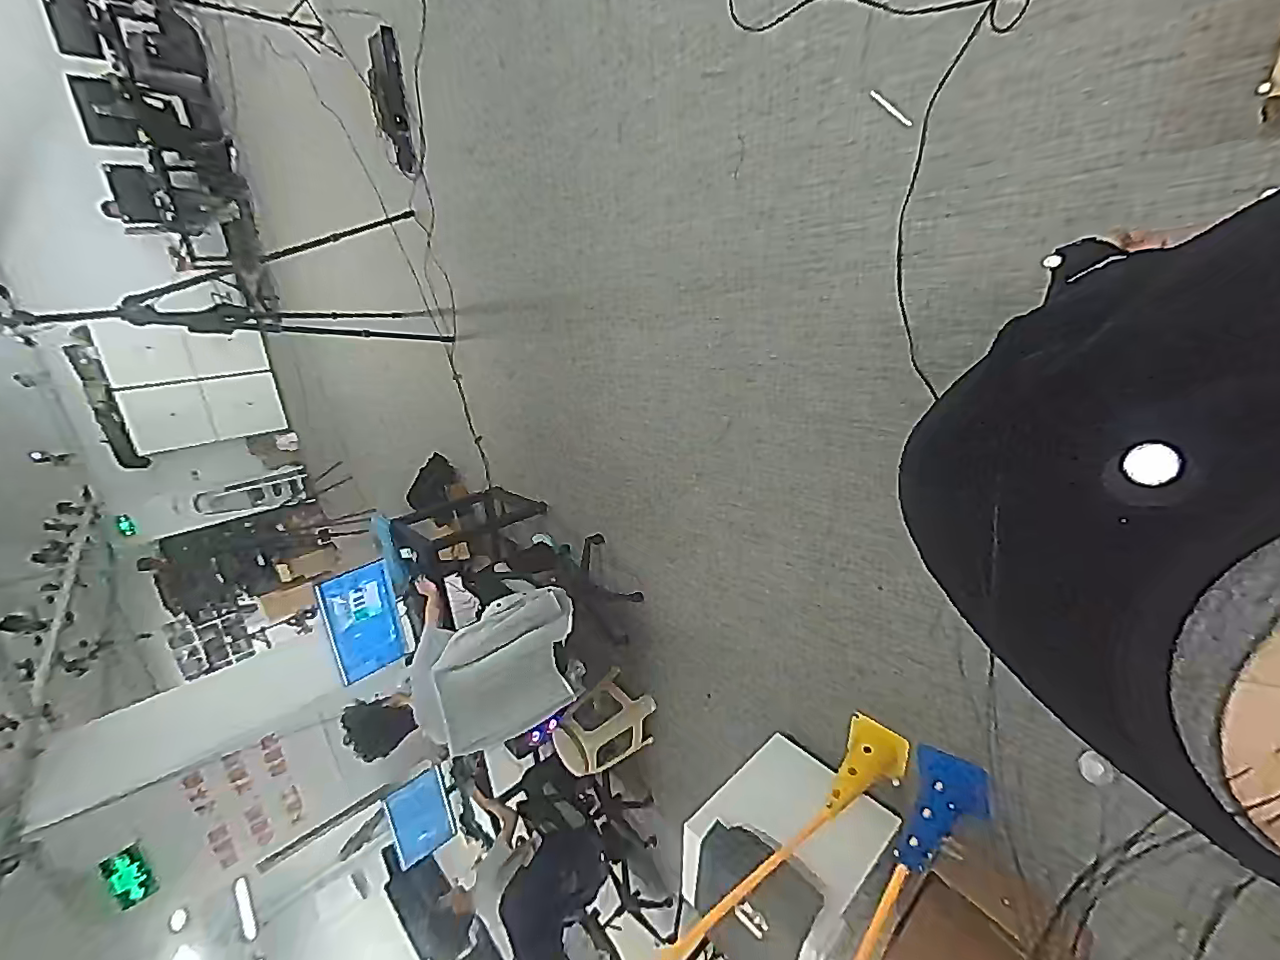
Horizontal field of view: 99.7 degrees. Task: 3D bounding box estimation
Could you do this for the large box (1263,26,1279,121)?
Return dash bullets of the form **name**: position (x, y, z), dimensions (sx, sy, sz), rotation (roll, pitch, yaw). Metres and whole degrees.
- **large box**: position (1.099, -0.675, 0.651), dimensions (0.408, 0.320, 0.320), rotation (18, 119, 45)
